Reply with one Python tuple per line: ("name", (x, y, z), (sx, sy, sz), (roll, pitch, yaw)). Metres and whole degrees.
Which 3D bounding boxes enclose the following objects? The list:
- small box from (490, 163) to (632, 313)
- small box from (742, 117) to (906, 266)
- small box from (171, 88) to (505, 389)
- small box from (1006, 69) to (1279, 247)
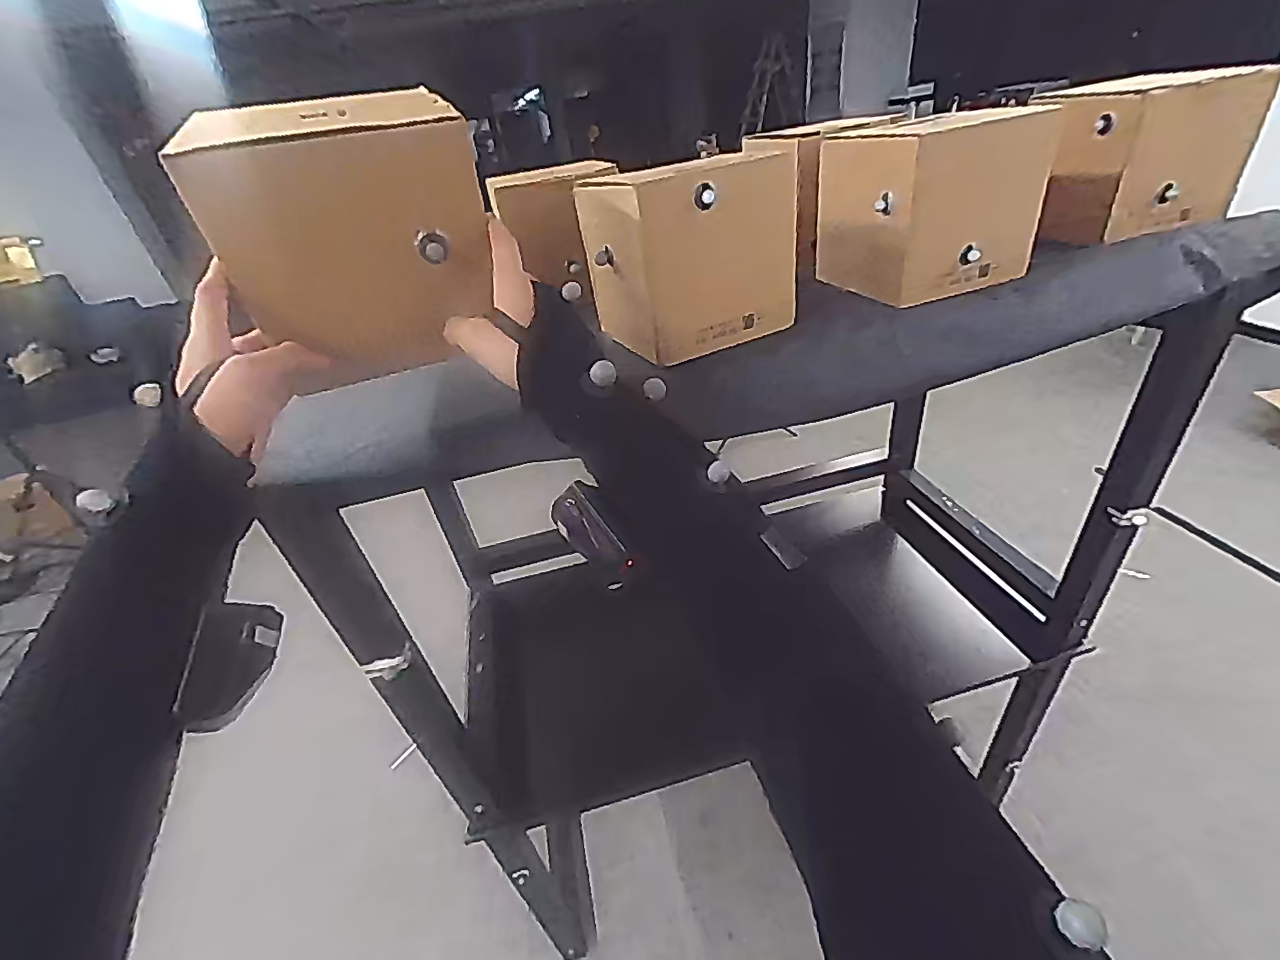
("small box", (-0.118, -0.362, 0.804), (0.168, 0.176, 0.179), (-16, 35, -9))
("small box", (0.268, -0.433, 0.818), (0.168, 0.176, 0.179), (-15, 34, -9))
("small box", (-0.218, -0.199, 0.438), (0.179, 0.176, 0.168), (-19, 45, -17))
("small box", (0.622, -0.413, 0.703), (0.168, 0.176, 0.179), (-12, 34, -3))
